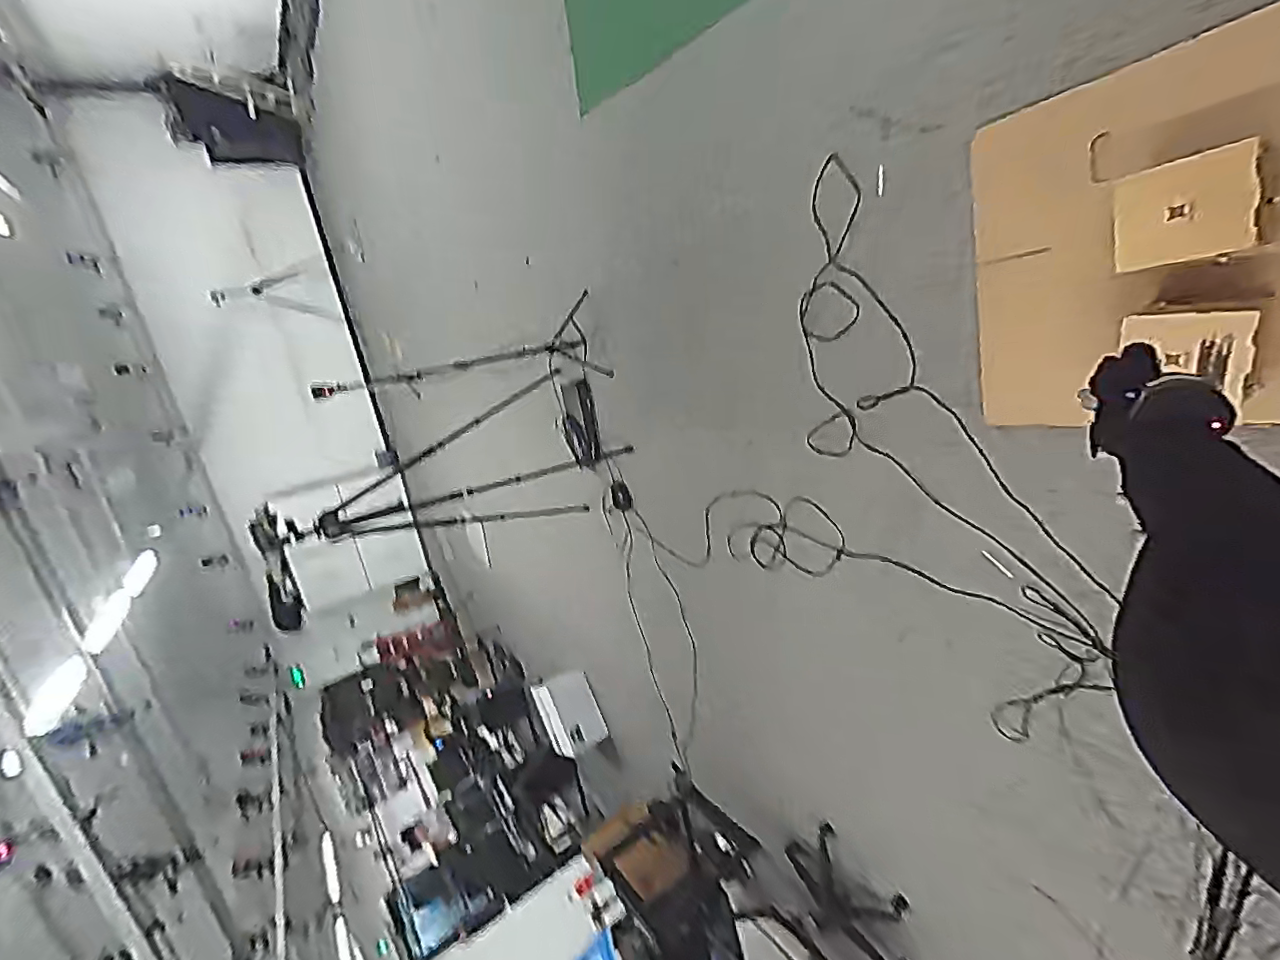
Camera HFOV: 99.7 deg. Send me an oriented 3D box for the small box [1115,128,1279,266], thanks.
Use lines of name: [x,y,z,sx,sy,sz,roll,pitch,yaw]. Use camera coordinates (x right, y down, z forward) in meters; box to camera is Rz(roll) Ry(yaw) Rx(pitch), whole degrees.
small box: [0.977,-0.486,0.950,0.179,0.176,0.168,4,111,55]
